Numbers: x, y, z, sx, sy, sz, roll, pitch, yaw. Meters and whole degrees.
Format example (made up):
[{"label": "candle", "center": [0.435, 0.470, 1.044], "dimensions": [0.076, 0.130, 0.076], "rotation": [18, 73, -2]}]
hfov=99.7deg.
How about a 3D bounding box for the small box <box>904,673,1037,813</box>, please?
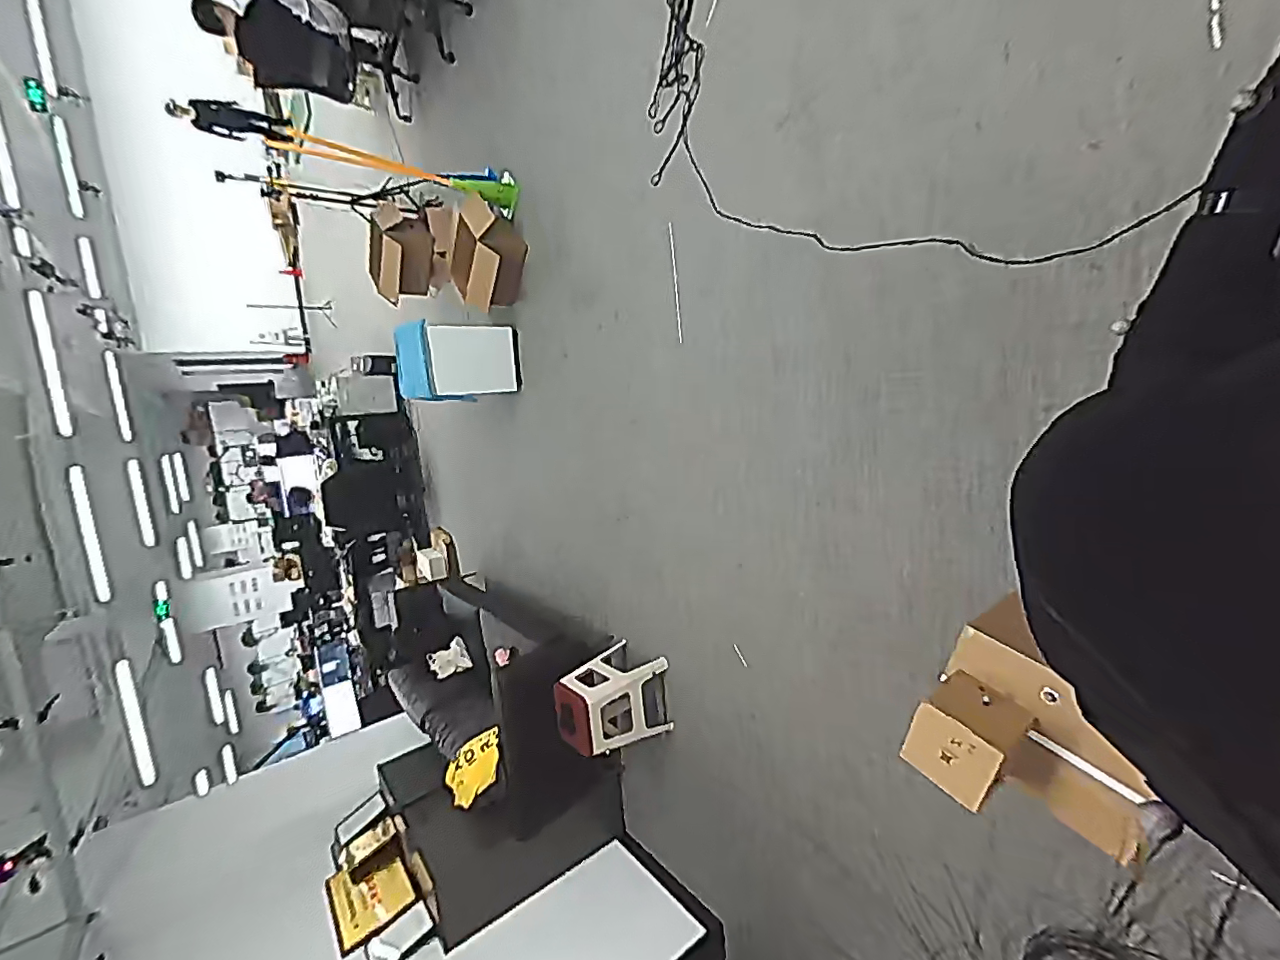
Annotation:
[{"label": "small box", "center": [0.705, 0.552, 1.155], "dimensions": [0.168, 0.176, 0.179], "rotation": [32, 125, 45]}]
